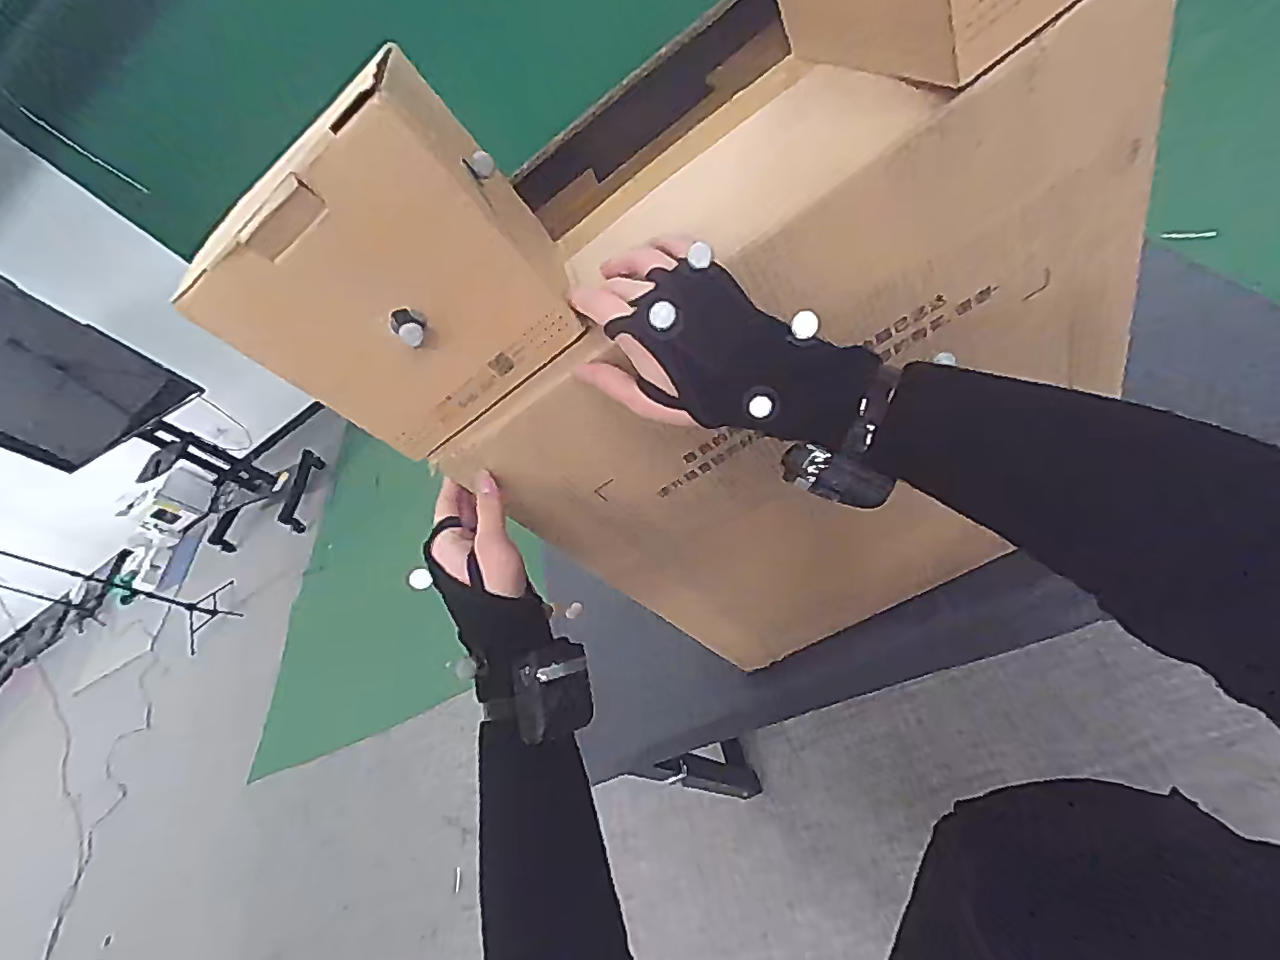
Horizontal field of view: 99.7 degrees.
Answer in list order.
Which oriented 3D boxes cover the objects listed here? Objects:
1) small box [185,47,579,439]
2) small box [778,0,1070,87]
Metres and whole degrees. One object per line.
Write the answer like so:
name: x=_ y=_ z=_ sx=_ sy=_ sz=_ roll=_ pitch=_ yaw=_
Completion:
small box: x=-0.163 y=-0.153 z=0.388 sx=0.168 sy=0.176 sz=0.179 roll=-34 pitch=46 yaw=14
small box: x=0.167 y=-0.344 z=0.277 sx=0.168 sy=0.176 sz=0.179 roll=-35 pitch=44 yaw=9
